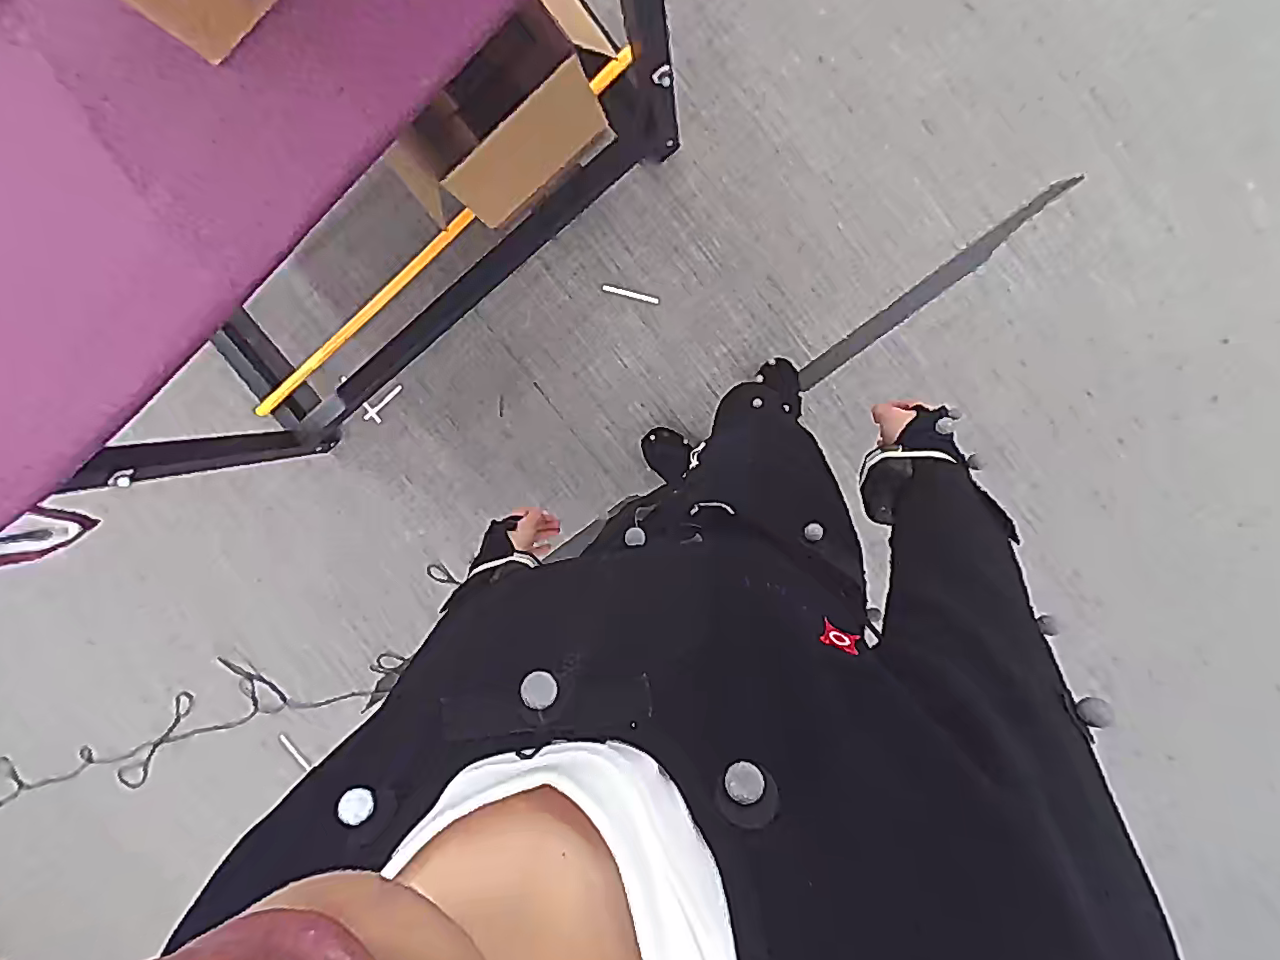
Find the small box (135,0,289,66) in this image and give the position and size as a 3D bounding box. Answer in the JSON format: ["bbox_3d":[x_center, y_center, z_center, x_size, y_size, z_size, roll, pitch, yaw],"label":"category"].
[{"bbox_3d":[-0.456,-0.563,0.506,0.179,0.176,0.168,-36,92,10],"label":"small box"}]
